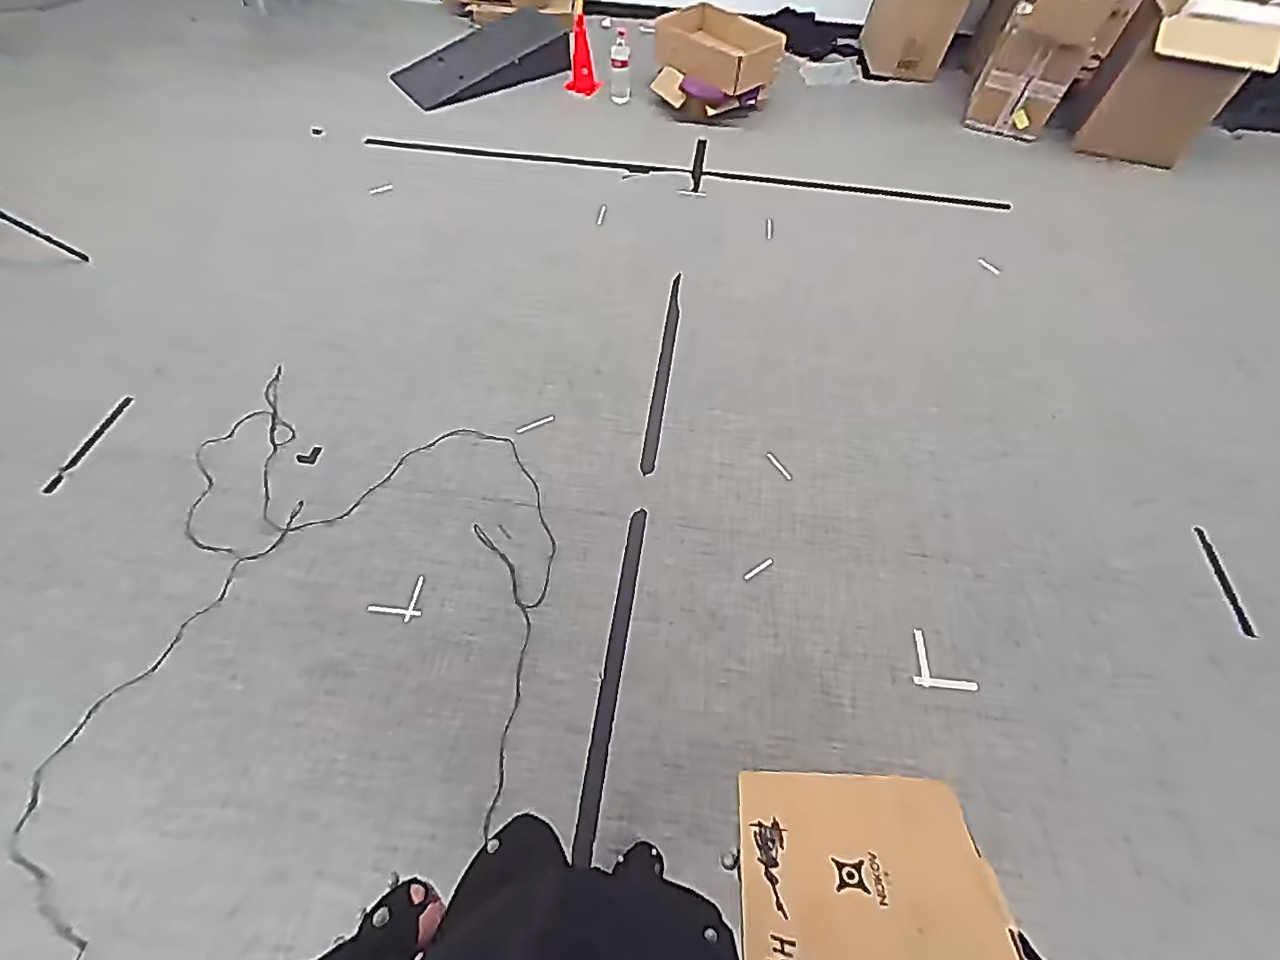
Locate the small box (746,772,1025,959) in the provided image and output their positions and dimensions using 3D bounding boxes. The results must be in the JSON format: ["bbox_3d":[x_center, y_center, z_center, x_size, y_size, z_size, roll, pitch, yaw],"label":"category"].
[{"bbox_3d":[0.176,0.369,0.429,0.179,0.176,0.168,-1,22,10],"label":"small box"}]
